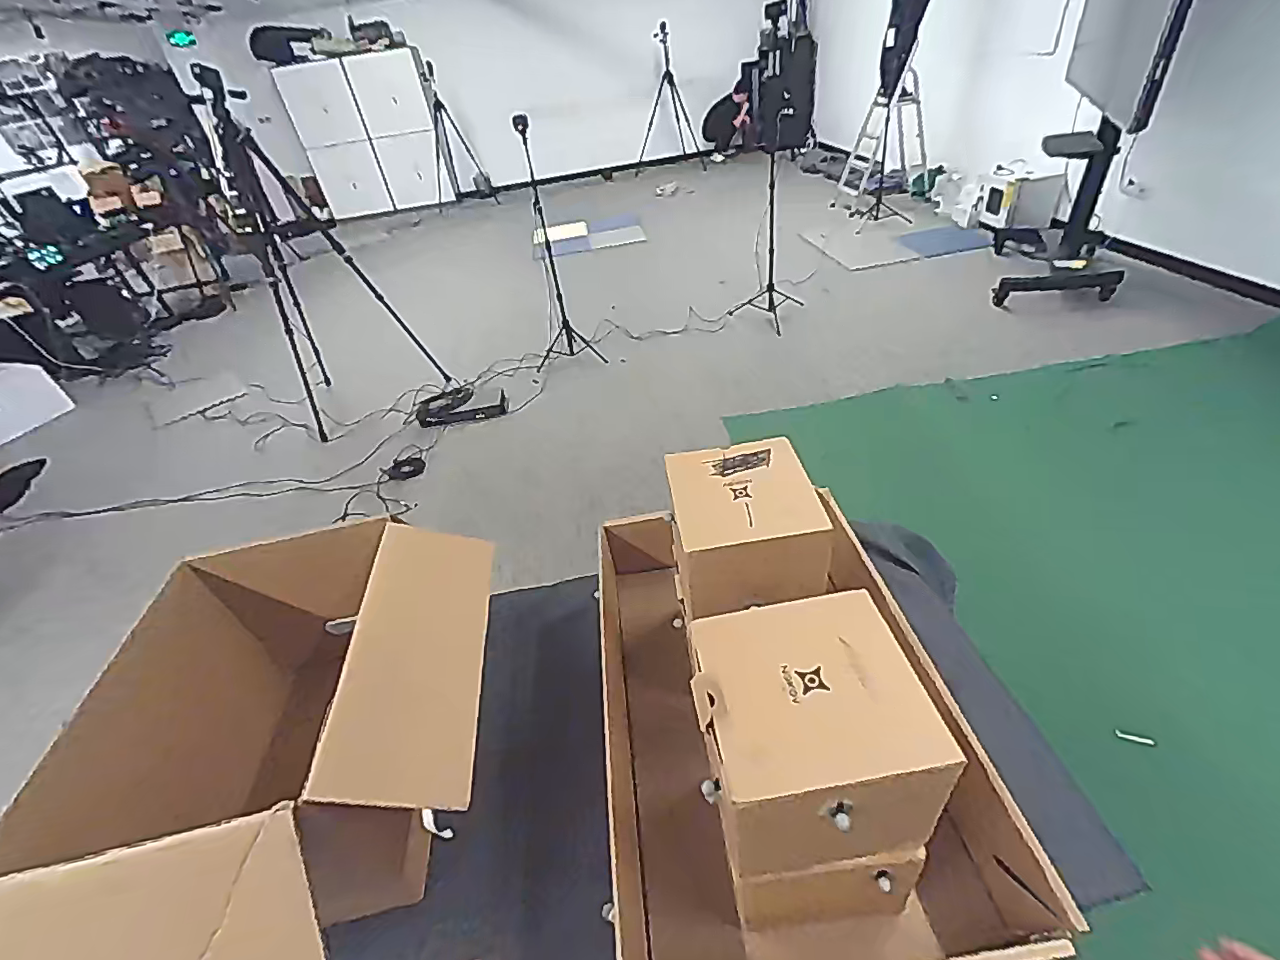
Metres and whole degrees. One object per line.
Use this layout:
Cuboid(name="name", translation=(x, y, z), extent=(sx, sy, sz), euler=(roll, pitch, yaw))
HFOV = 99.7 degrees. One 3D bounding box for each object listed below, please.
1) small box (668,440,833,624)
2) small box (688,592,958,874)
Cuboid(name="small box", translation=(0.132, 0.074, 0.698), extent=(0.168, 0.176, 0.179), euler=(-10, 40, 1))
Cuboid(name="small box", translation=(0.151, 0.233, 0.501), extent=(0.179, 0.176, 0.168), euler=(-10, 38, -1))
